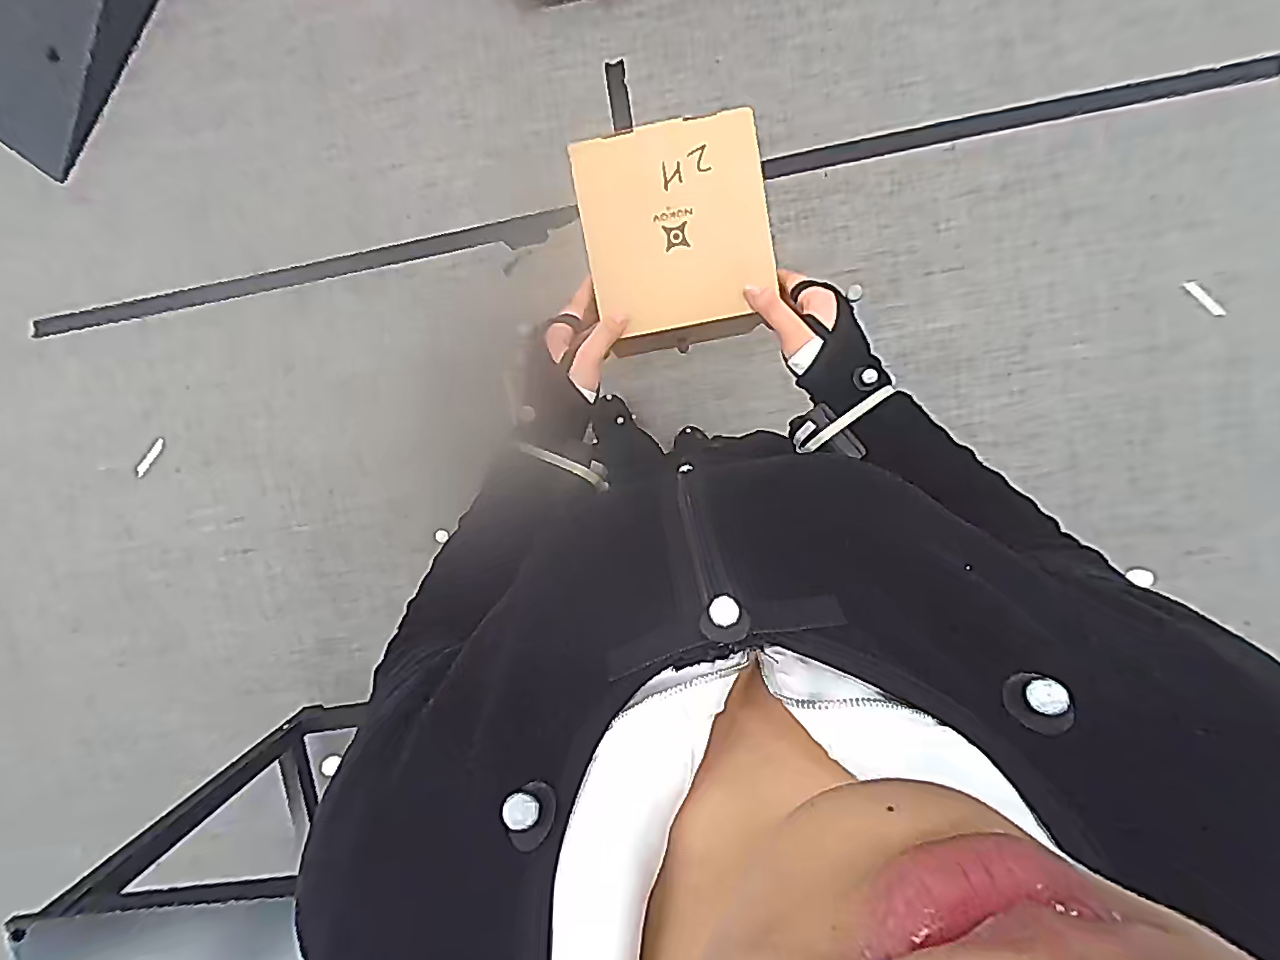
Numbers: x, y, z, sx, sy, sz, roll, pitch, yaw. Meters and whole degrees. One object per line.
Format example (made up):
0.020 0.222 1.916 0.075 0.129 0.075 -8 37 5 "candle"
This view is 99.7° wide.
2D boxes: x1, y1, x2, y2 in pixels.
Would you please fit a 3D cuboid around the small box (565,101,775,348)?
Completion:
0.032 -0.240 0.560 0.168 0.176 0.179 -11 96 3 "small box"
